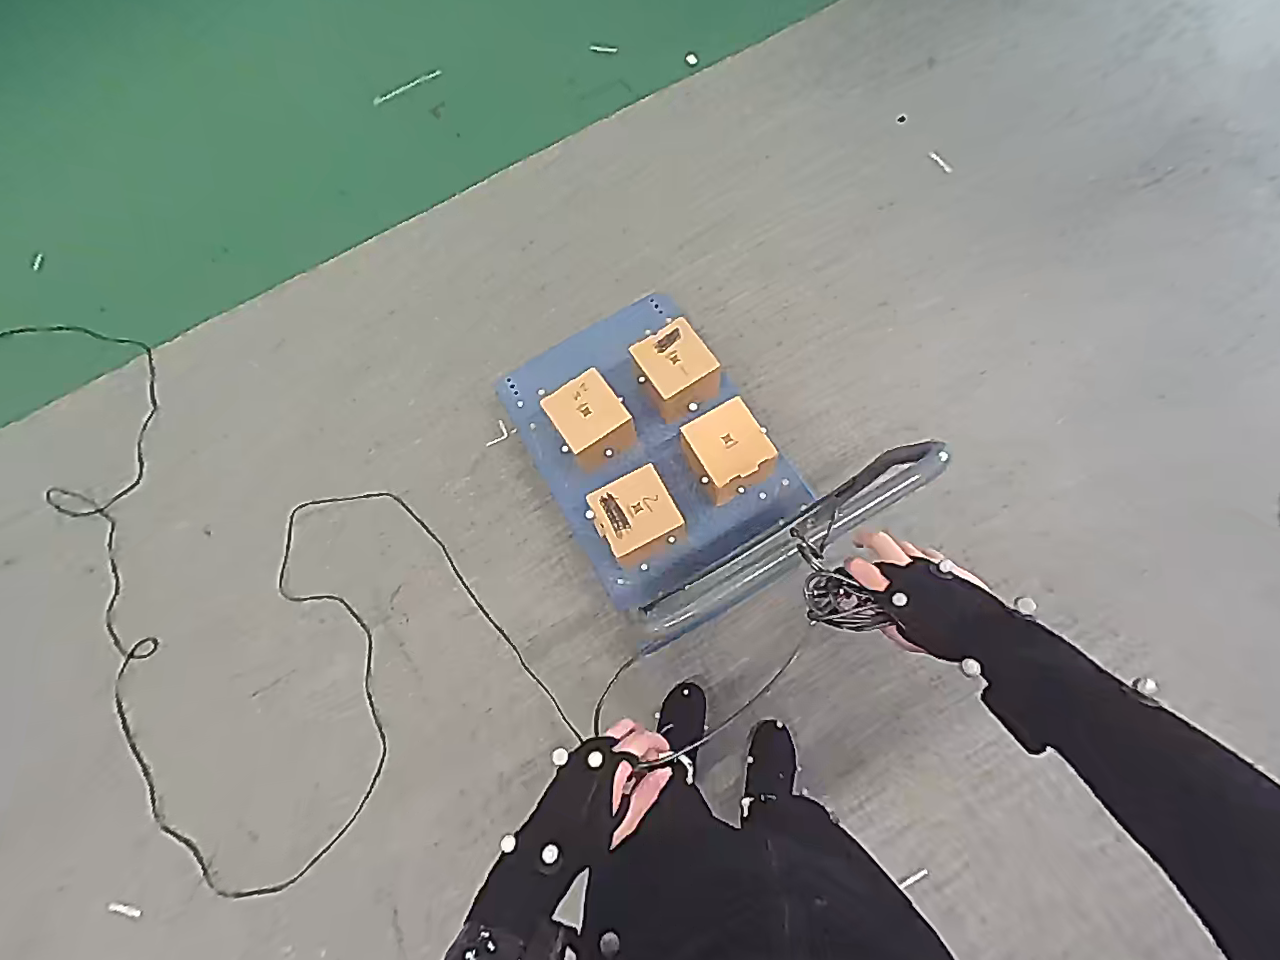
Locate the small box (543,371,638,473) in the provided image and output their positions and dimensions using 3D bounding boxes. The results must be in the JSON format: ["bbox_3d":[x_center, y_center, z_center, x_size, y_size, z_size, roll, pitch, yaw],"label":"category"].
[{"bbox_3d":[-0.118,-0.137,1.384,0.168,0.176,0.179,-33,72,-6],"label":"small box"}]

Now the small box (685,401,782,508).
[{"bbox_3d":[0.221,-0.056,1.328,0.168,0.176,0.179,-29,72,-4],"label":"small box"}]

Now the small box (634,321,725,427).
[{"bbox_3d":[0.100,-0.270,1.406,0.168,0.176,0.179,-32,73,-4],"label":"small box"}]
